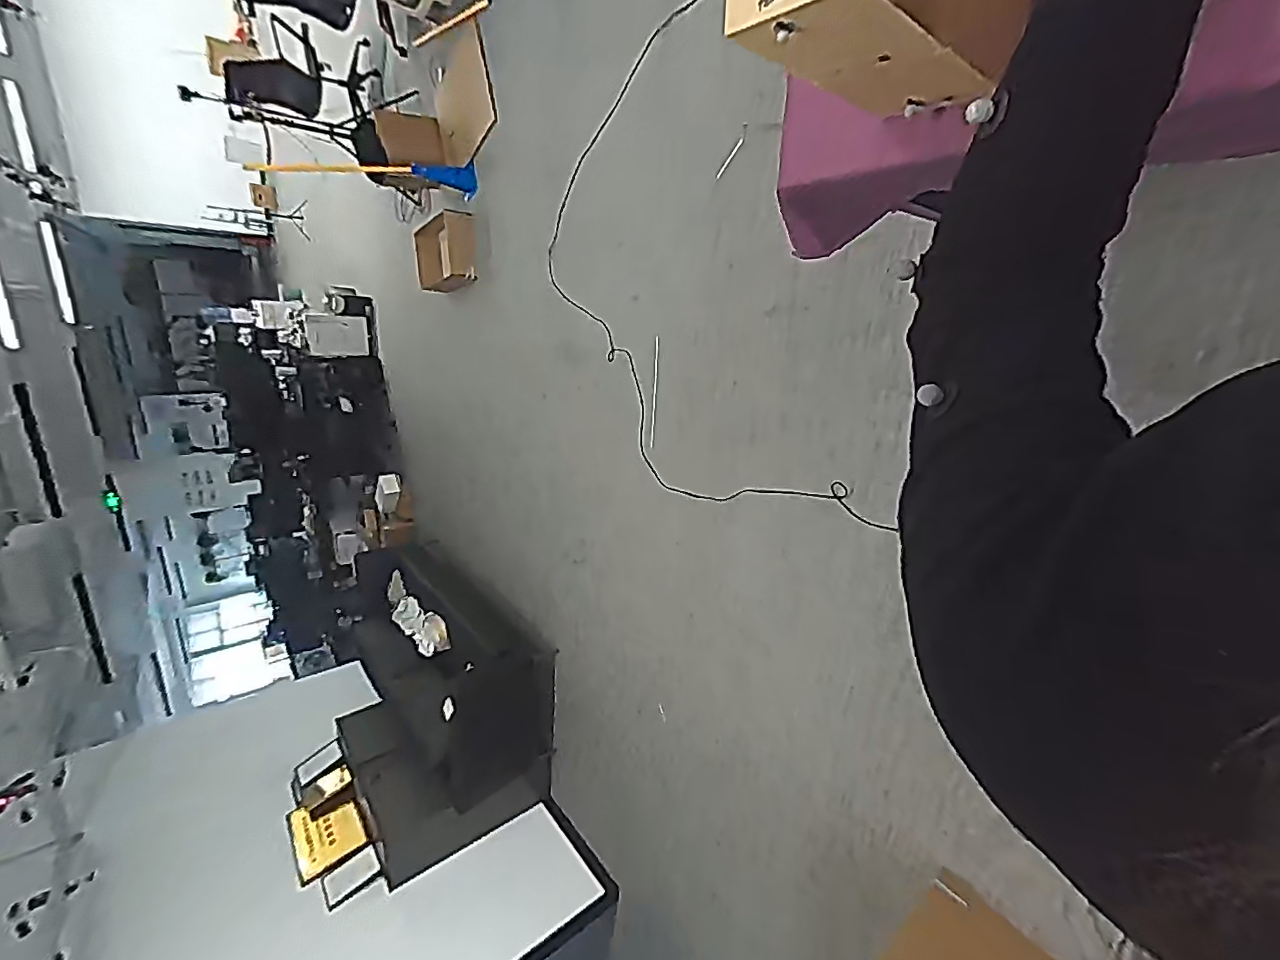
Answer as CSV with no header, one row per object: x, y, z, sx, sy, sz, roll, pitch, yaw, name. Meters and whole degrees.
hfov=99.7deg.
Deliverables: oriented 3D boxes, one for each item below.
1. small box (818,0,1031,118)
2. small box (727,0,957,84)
0.344,-0.564,0.643,0.168,0.176,0.179,27,119,46,small box
0.215,-0.541,0.543,0.168,0.176,0.179,27,118,47,small box
